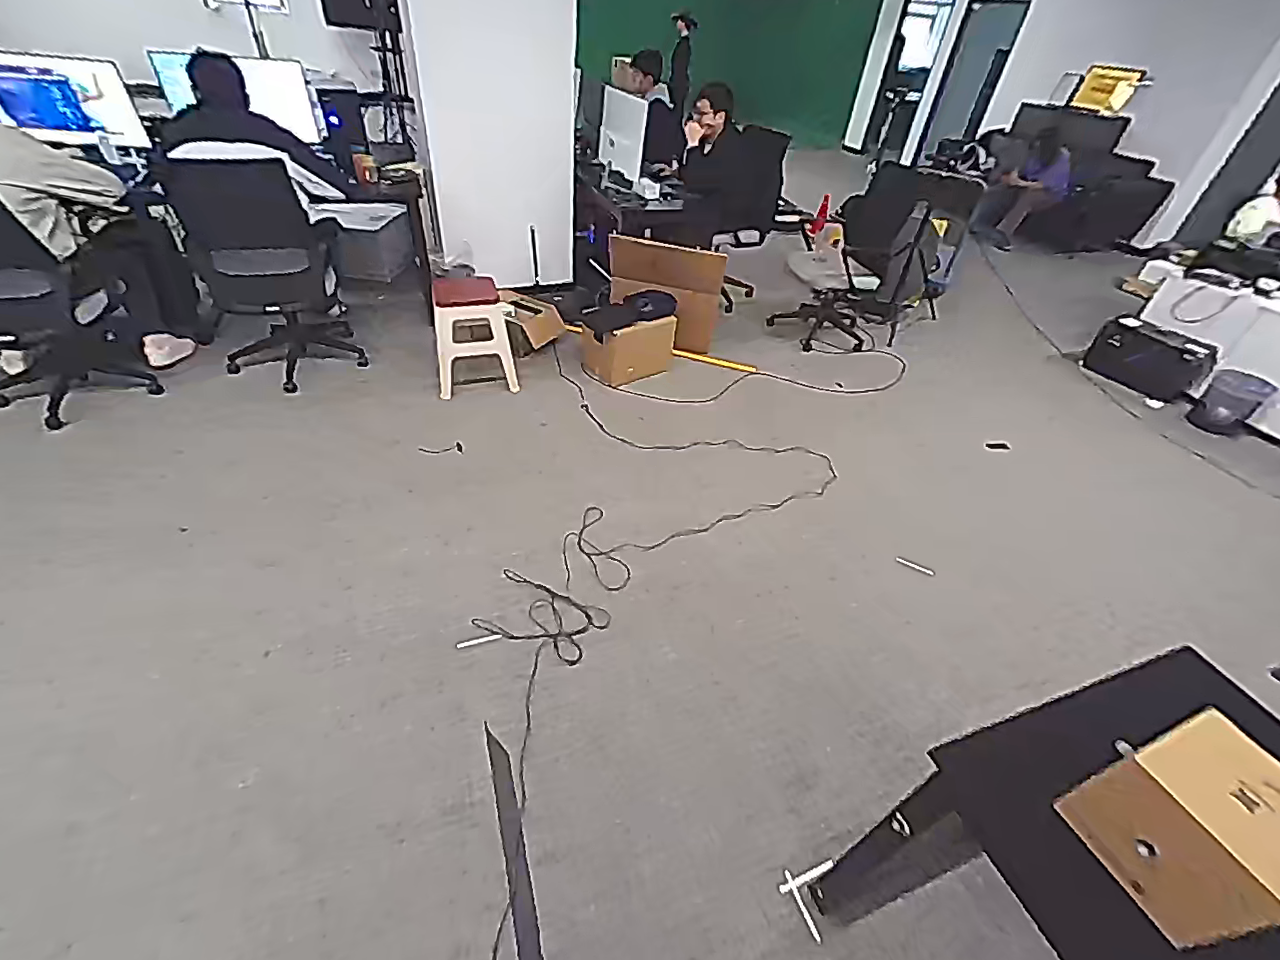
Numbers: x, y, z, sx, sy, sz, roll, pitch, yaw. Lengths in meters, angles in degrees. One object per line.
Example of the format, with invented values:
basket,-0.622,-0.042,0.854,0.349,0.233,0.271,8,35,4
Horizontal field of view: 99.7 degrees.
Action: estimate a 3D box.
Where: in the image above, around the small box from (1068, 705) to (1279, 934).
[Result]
small box,0.690,0.420,0.673,0.179,0.176,0.168,-12,44,-20
